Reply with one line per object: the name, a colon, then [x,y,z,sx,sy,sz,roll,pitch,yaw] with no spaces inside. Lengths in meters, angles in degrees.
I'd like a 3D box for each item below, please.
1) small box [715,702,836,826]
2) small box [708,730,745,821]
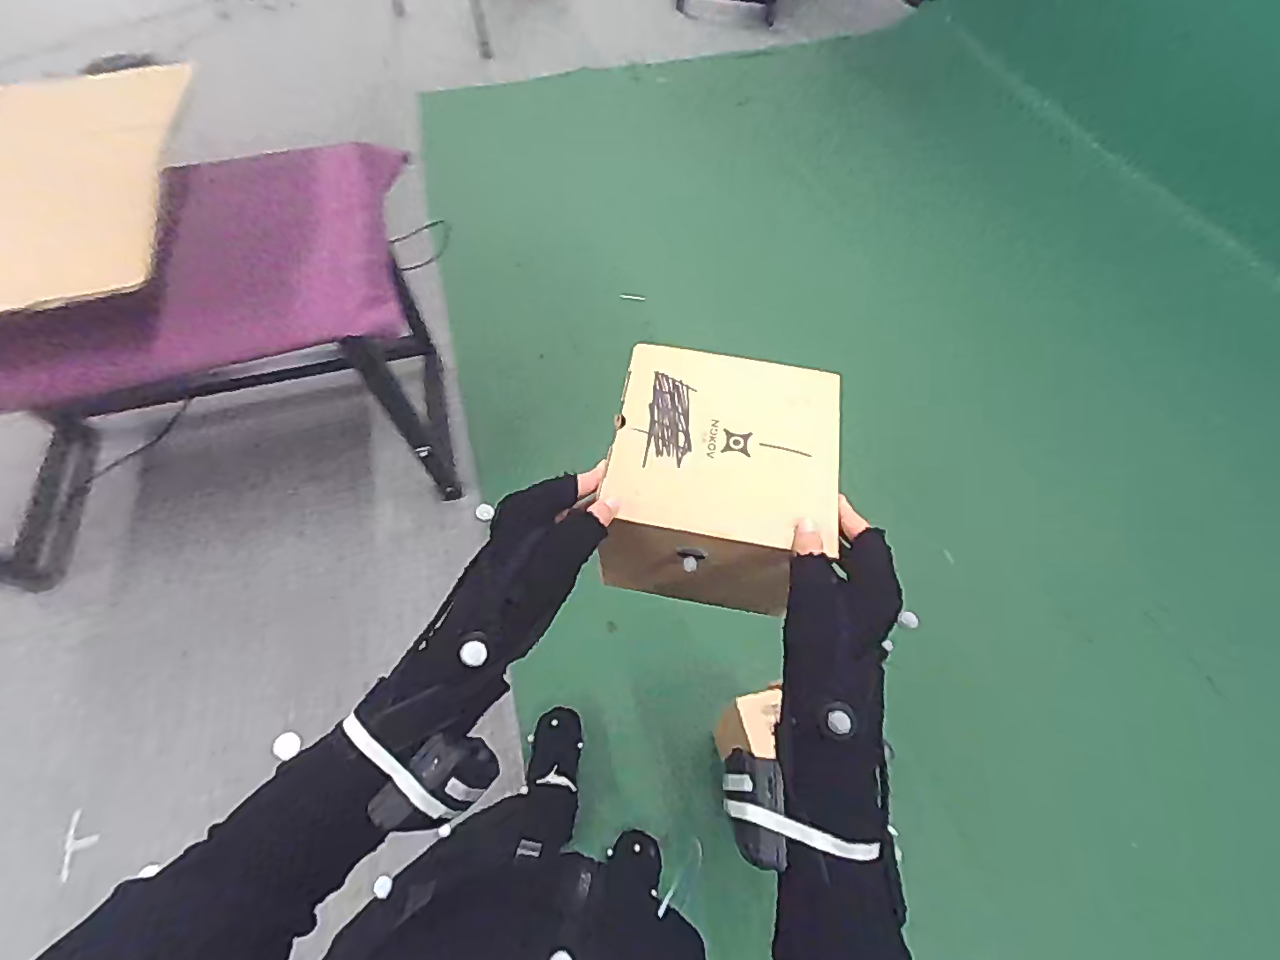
small box: [0.254,0.554,1.060,0.168,0.176,0.179,-12,60,-7]
small box: [0.259,0.635,1.202,0.168,0.176,0.179,-12,61,-8]
